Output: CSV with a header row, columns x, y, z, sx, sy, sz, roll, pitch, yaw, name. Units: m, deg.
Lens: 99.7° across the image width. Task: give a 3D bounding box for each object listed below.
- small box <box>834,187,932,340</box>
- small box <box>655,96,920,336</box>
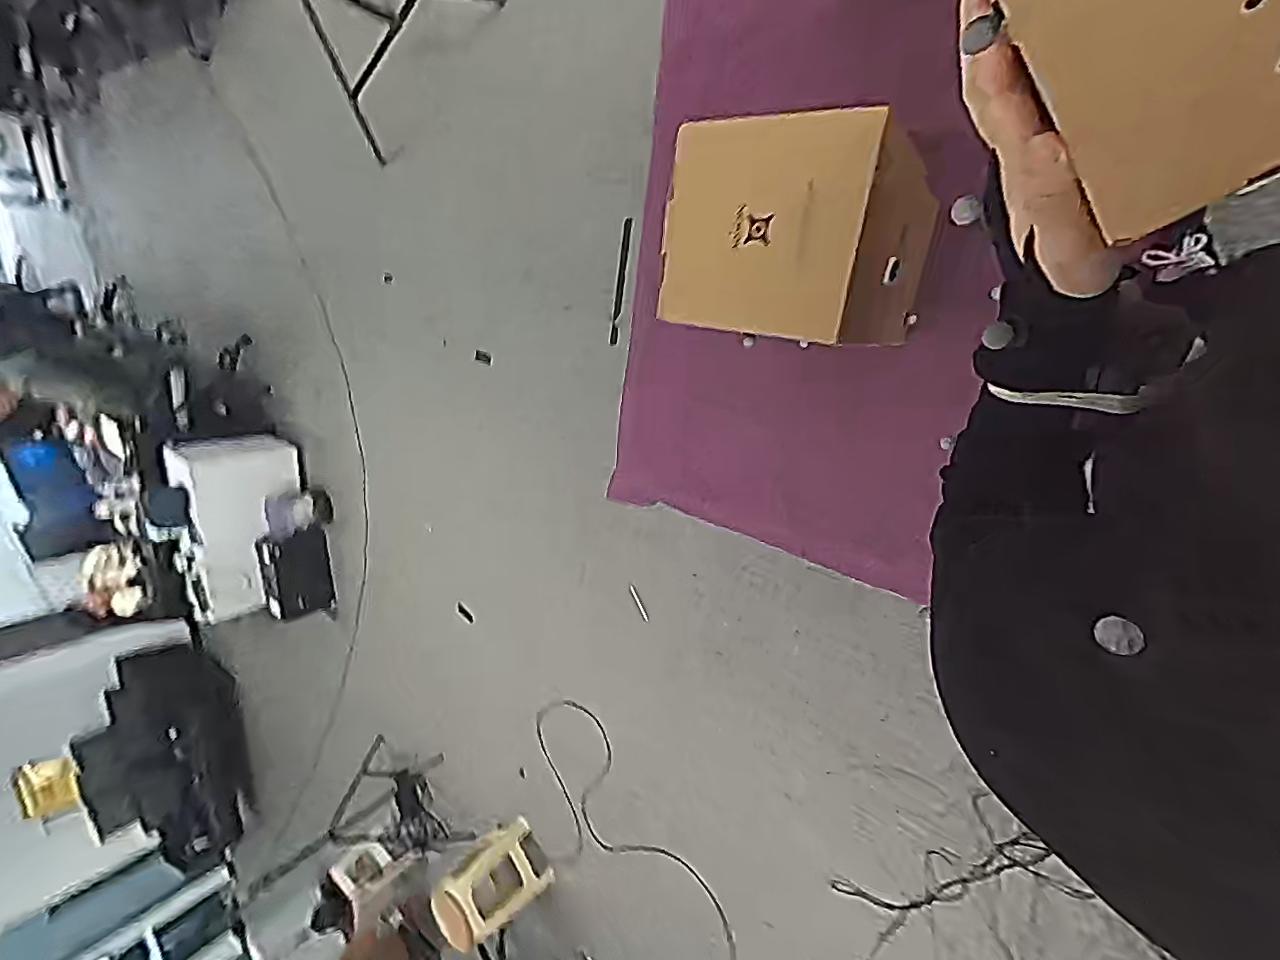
x,y,z,sx,sy,sz,roll,pitch,yaw,name
0.224,-0.262,0.641,0.179,0.176,0.168,19,112,33,small box
0.138,-0.229,0.507,0.179,0.176,0.168,18,113,31,small box
